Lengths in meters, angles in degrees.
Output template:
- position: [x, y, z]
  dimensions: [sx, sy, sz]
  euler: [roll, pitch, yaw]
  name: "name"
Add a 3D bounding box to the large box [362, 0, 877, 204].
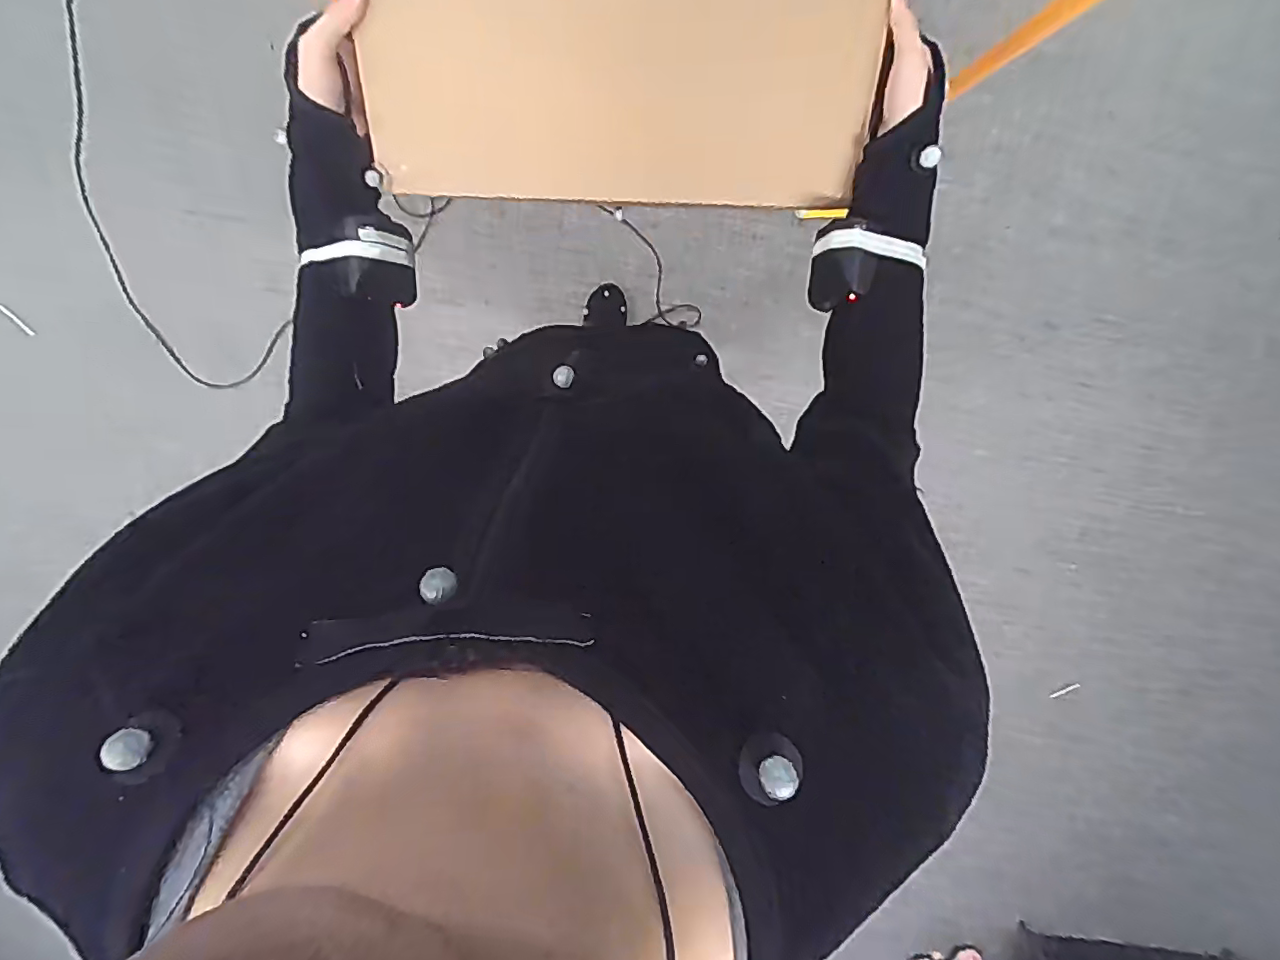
- position: [-0.016, -0.453, 0.536]
  dimensions: [0.408, 0.320, 0.320]
  euler: [0, 116, -3]
  name: "large box"
